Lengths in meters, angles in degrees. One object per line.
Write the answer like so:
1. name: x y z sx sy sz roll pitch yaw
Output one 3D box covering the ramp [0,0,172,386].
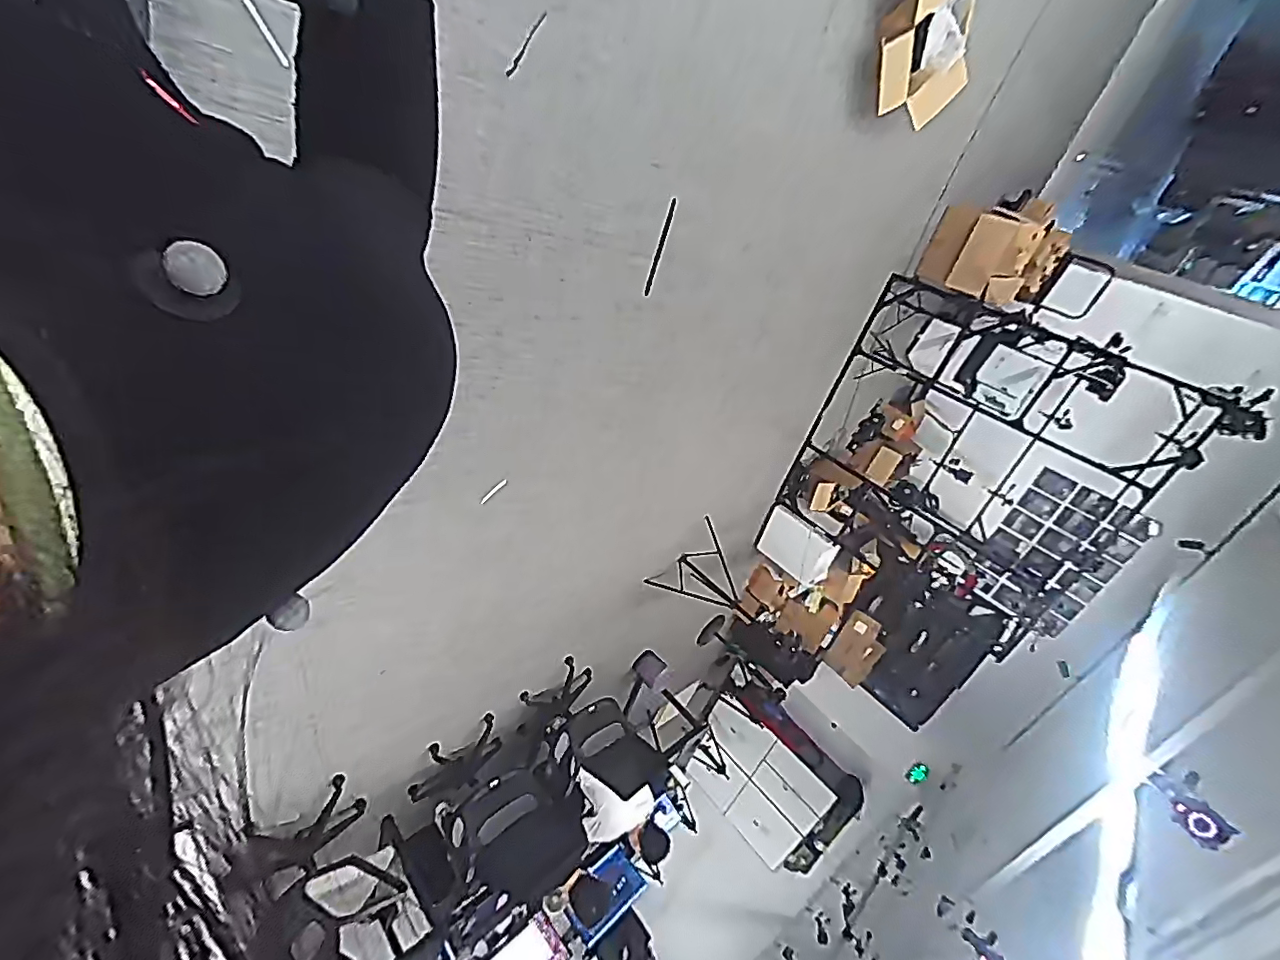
1. ramp: -1.143 -0.570 0.927 0.509 0.206 0.991 -15 134 -45
